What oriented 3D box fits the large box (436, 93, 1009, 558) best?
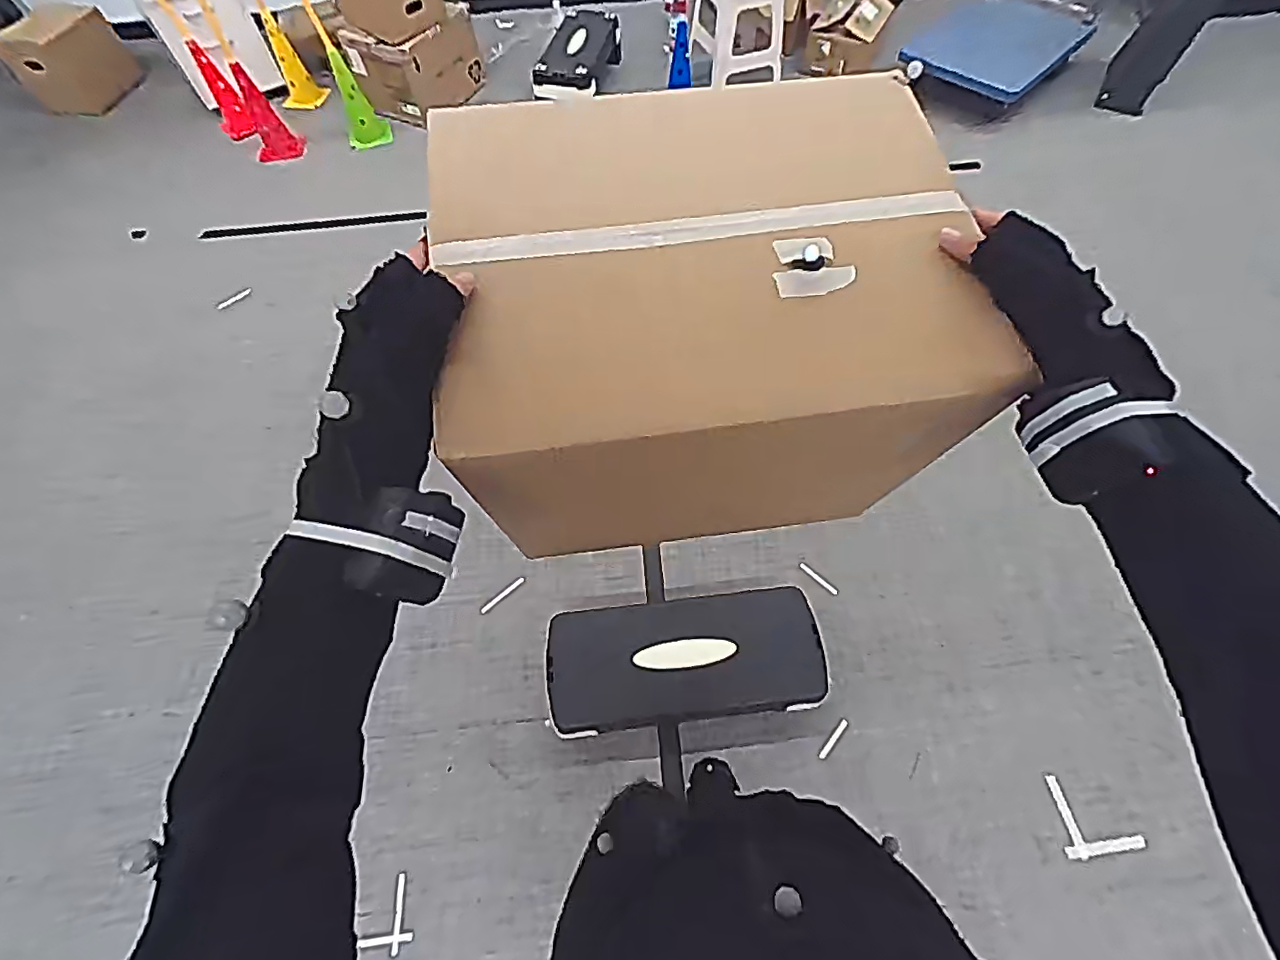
[{"bbox_3d":[0.042,-0.127,0.559,0.408,0.320,0.320,-8,70,-4],"label":"large box"}]
